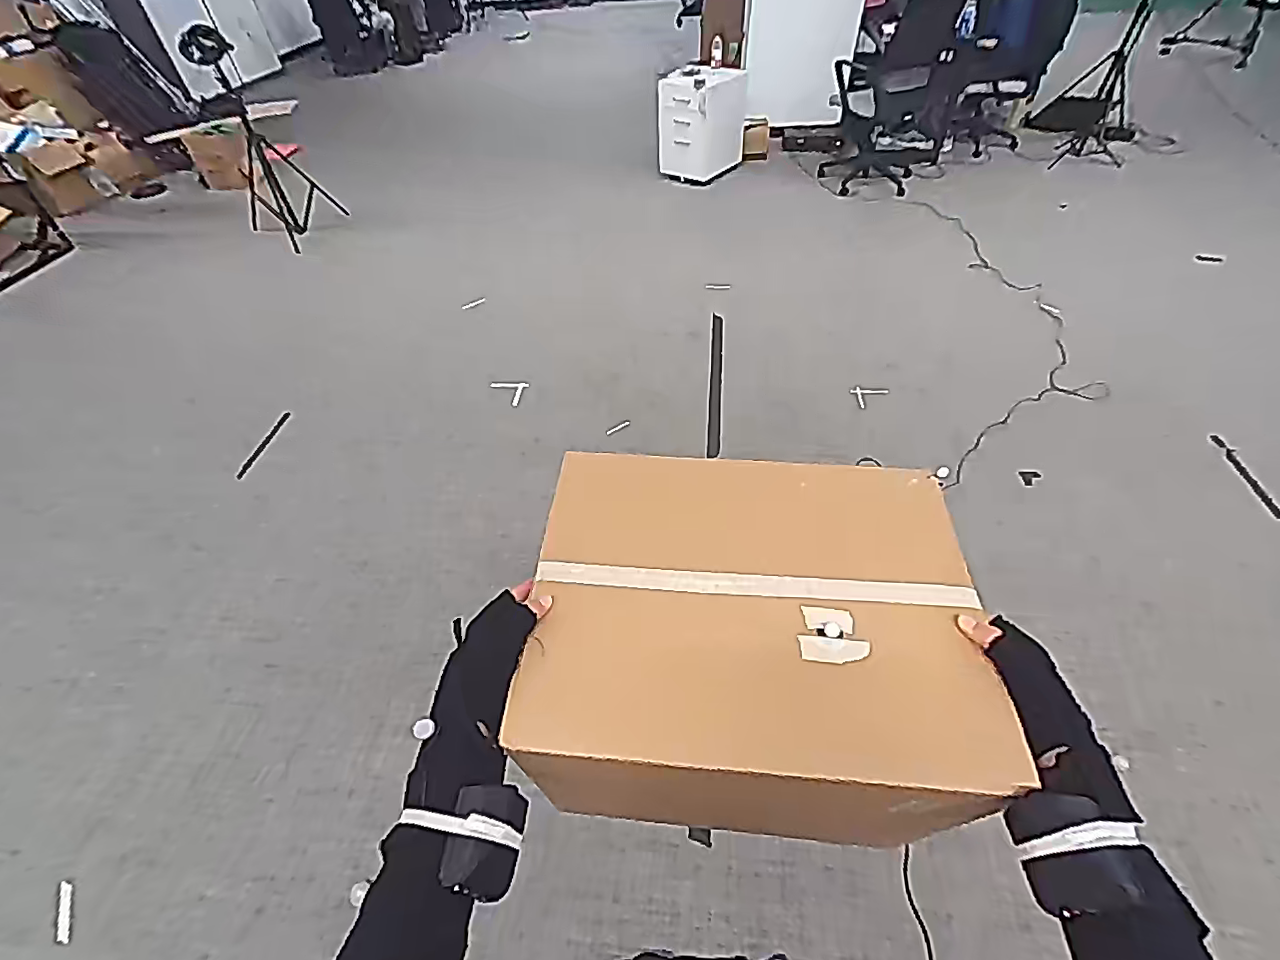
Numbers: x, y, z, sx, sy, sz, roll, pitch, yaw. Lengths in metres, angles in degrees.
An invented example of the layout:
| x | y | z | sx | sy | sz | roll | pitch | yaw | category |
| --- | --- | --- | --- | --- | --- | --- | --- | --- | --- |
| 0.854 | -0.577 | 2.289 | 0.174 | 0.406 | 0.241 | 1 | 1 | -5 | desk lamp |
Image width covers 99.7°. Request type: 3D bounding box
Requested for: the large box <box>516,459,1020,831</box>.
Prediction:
| x | y | z | sx | sy | sz | roll | pitch | yaw | category |
| --- | --- | --- | --- | --- | --- | --- | --- | --- | --- |
| 0.108 | 0.196 | 0.631 | 0.408 | 0.320 | 0.320 | 3 | 52 | 4 | large box |
